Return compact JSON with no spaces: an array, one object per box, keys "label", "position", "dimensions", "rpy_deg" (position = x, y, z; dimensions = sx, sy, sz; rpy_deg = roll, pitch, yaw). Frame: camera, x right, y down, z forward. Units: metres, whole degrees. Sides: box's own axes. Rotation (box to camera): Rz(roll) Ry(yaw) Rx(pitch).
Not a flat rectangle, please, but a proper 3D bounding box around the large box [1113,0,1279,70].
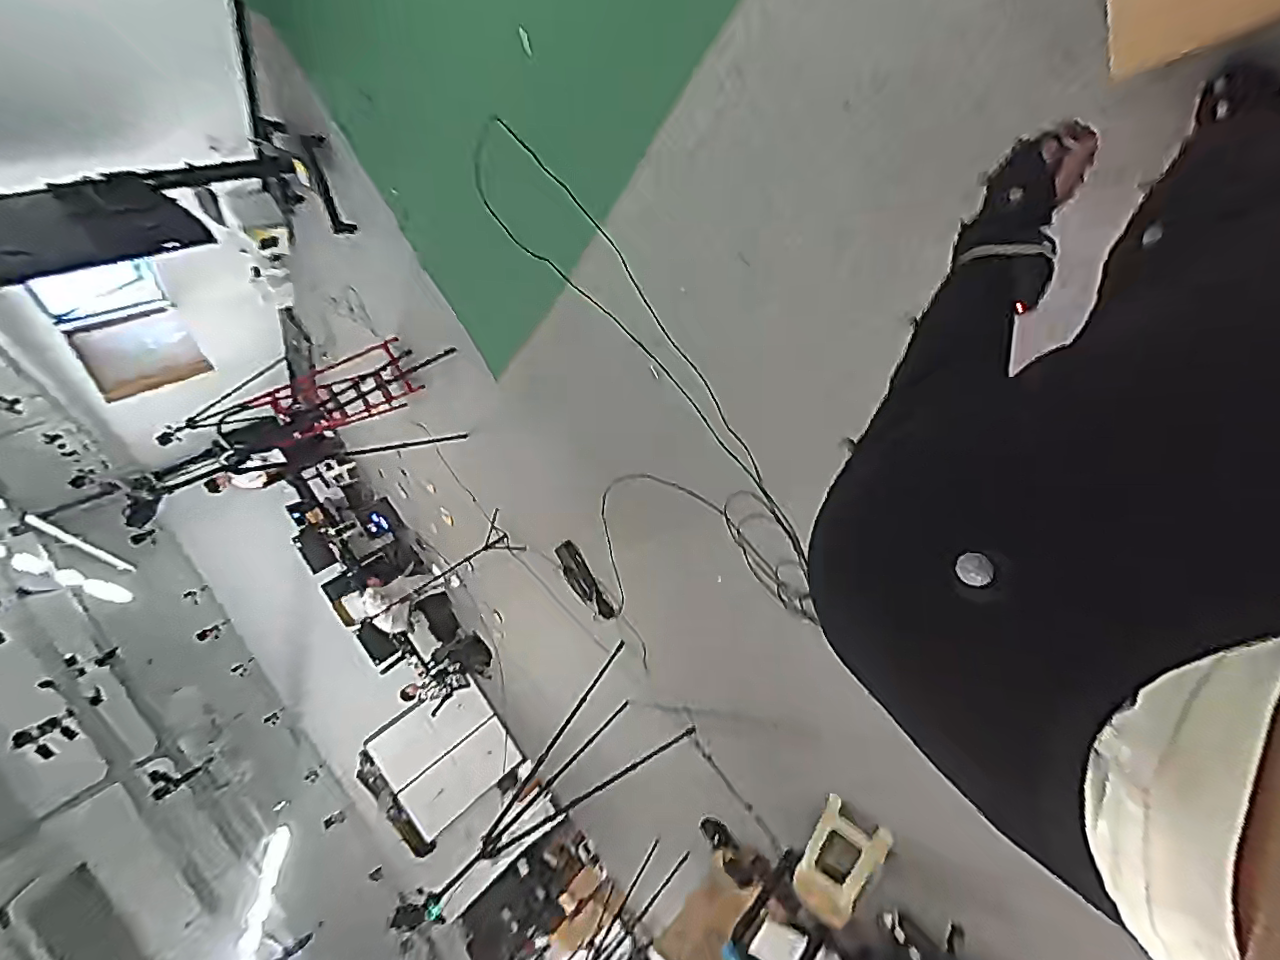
[{"label":"large box","position":[0.956,-0.860,0.767],"dimensions":[0.408,0.320,0.320],"rpy_deg":[3,120,50]}]
